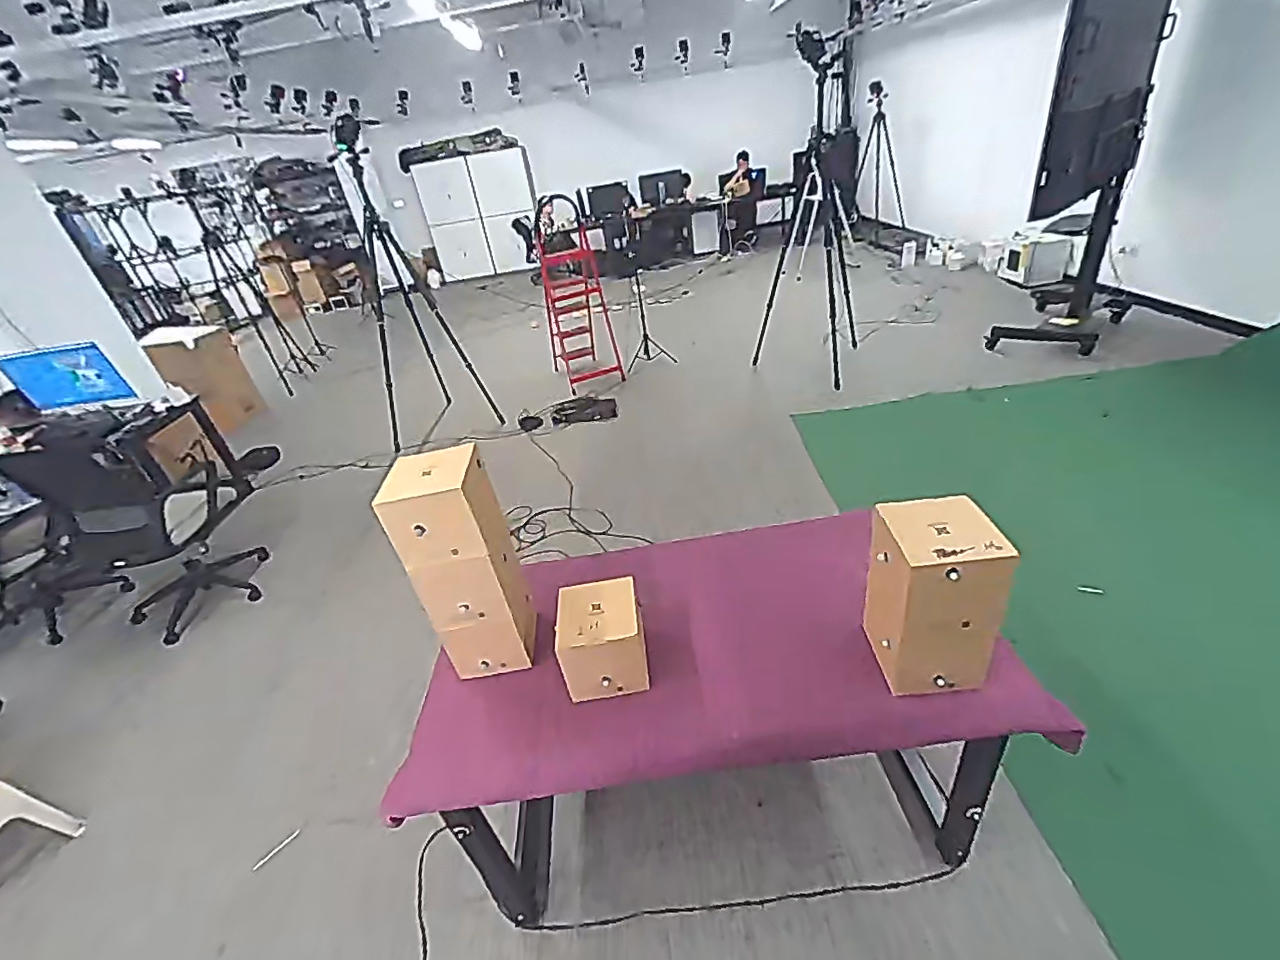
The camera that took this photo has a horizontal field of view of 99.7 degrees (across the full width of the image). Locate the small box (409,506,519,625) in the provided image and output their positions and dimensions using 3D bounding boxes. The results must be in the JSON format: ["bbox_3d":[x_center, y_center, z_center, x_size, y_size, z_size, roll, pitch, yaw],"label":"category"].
[{"bbox_3d":[-0.366,0.182,1.163,0.168,0.176,0.179,-11,33,0],"label":"small box"}]

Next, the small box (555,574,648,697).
[{"bbox_3d":[-0.079,0.331,1.156,0.168,0.176,0.179,-10,32,1],"label":"small box"}]

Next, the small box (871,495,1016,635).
[{"bbox_3d":[0.522,0.149,0.961,0.168,0.176,0.179,-8,31,7],"label":"small box"}]

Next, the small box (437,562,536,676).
[{"bbox_3d":[-0.343,0.319,1.249,0.168,0.176,0.179,-10,33,0],"label":"small box"}]

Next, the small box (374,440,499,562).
[{"bbox_3d":[-0.392,0.047,1.077,0.168,0.176,0.179,-11,32,0],"label":"small box"}]
